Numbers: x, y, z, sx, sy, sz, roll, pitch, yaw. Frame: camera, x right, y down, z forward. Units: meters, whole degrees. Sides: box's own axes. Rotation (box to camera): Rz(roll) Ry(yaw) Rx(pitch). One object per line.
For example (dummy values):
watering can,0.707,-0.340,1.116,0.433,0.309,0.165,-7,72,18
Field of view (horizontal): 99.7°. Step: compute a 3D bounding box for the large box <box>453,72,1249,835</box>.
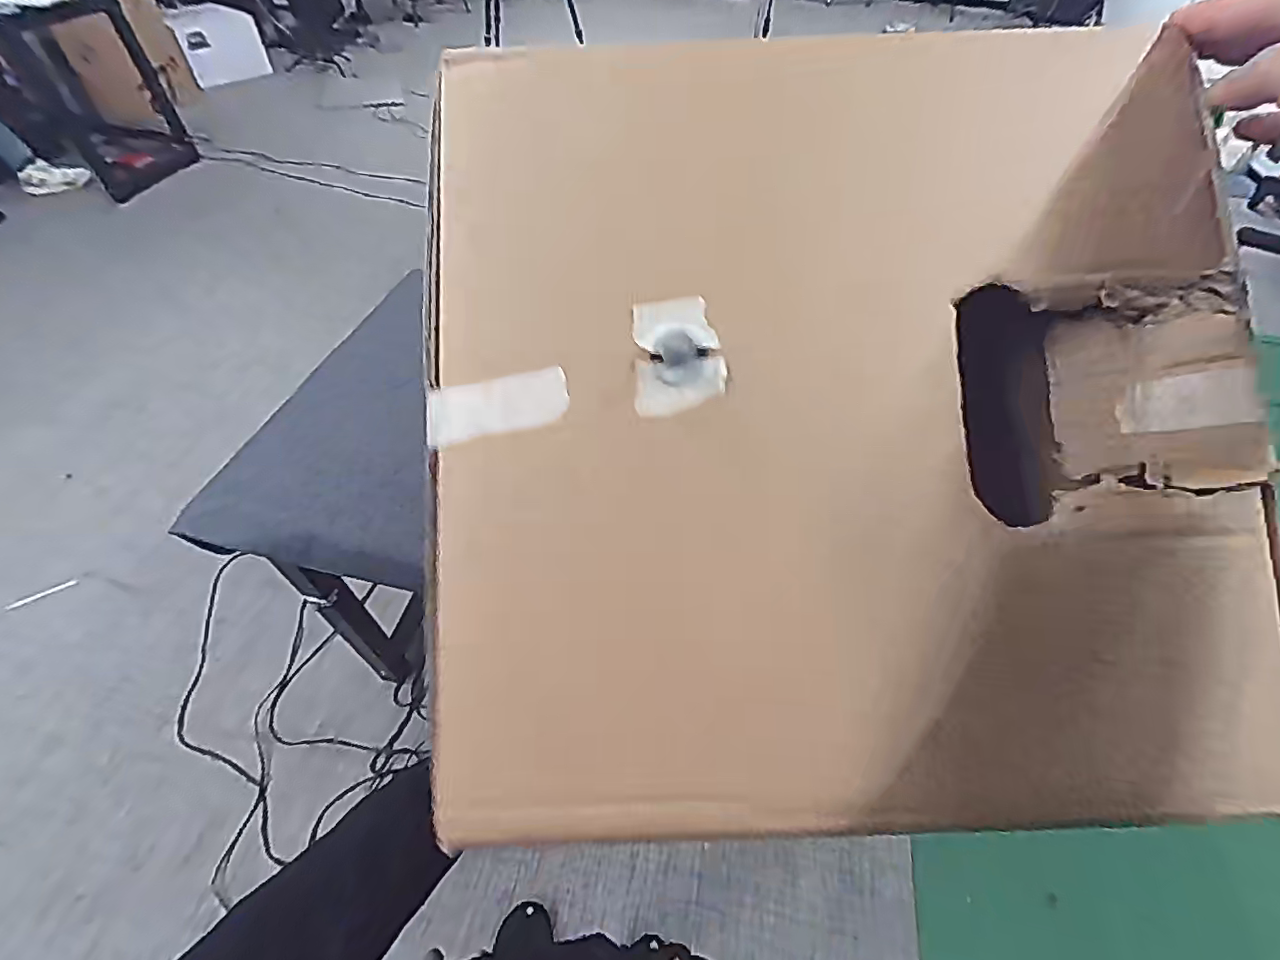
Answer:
large box,0.074,-0.008,0.413,0.320,0.408,0.320,-3,84,-2
